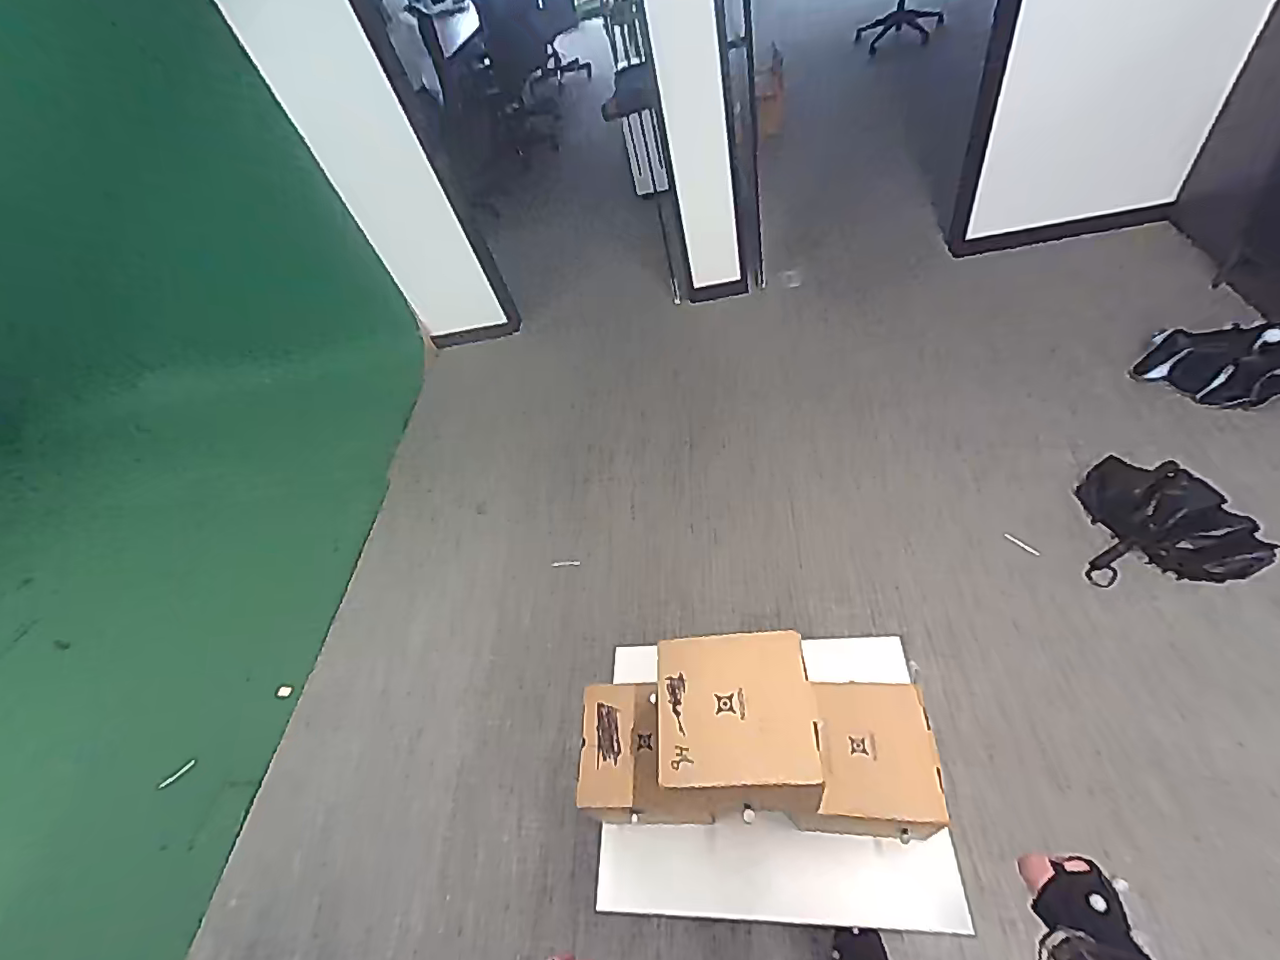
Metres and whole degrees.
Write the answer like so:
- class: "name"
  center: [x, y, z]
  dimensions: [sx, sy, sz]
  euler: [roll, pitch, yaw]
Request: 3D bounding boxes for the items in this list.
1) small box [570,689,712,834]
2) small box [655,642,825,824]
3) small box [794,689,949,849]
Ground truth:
- class: "small box"
  center: [0.010, 0.427, 0.816]
  dimensions: [0.179, 0.176, 0.168]
  euler: [-6, 50, 10]
- class: "small box"
  center: [0.117, 0.313, 0.664]
  dimensions: [0.179, 0.176, 0.168]
  euler: [-6, 49, 9]
- class: "small box"
  center: [0.301, 0.403, 0.753]
  dimensions: [0.179, 0.176, 0.168]
  euler: [-5, 50, 14]
